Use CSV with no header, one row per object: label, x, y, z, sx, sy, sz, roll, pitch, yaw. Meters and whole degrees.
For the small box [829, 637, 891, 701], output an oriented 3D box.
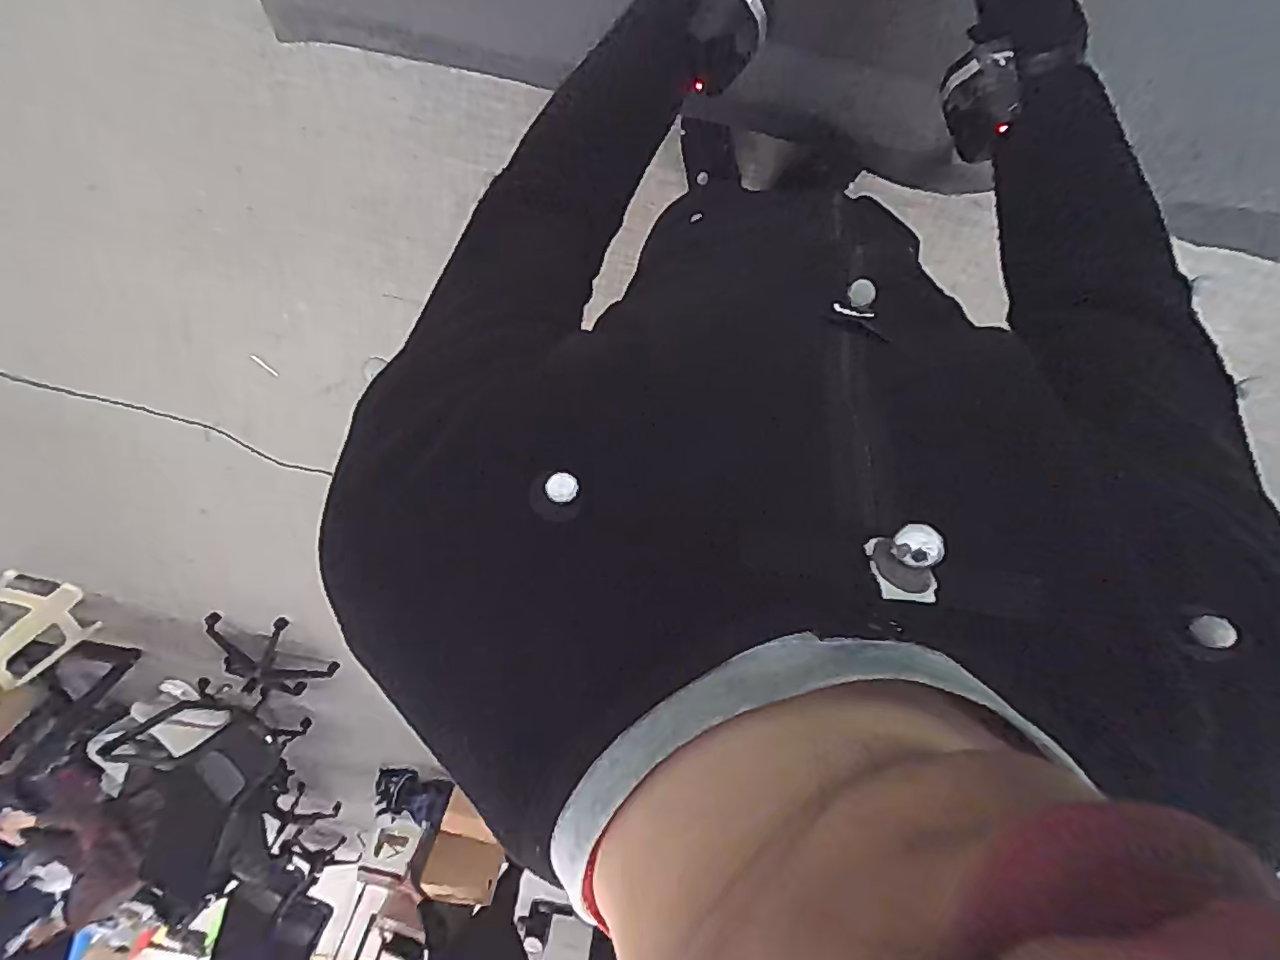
small box,0.880,0.760,2.185,0.168,0.176,0.179,11,127,-1
